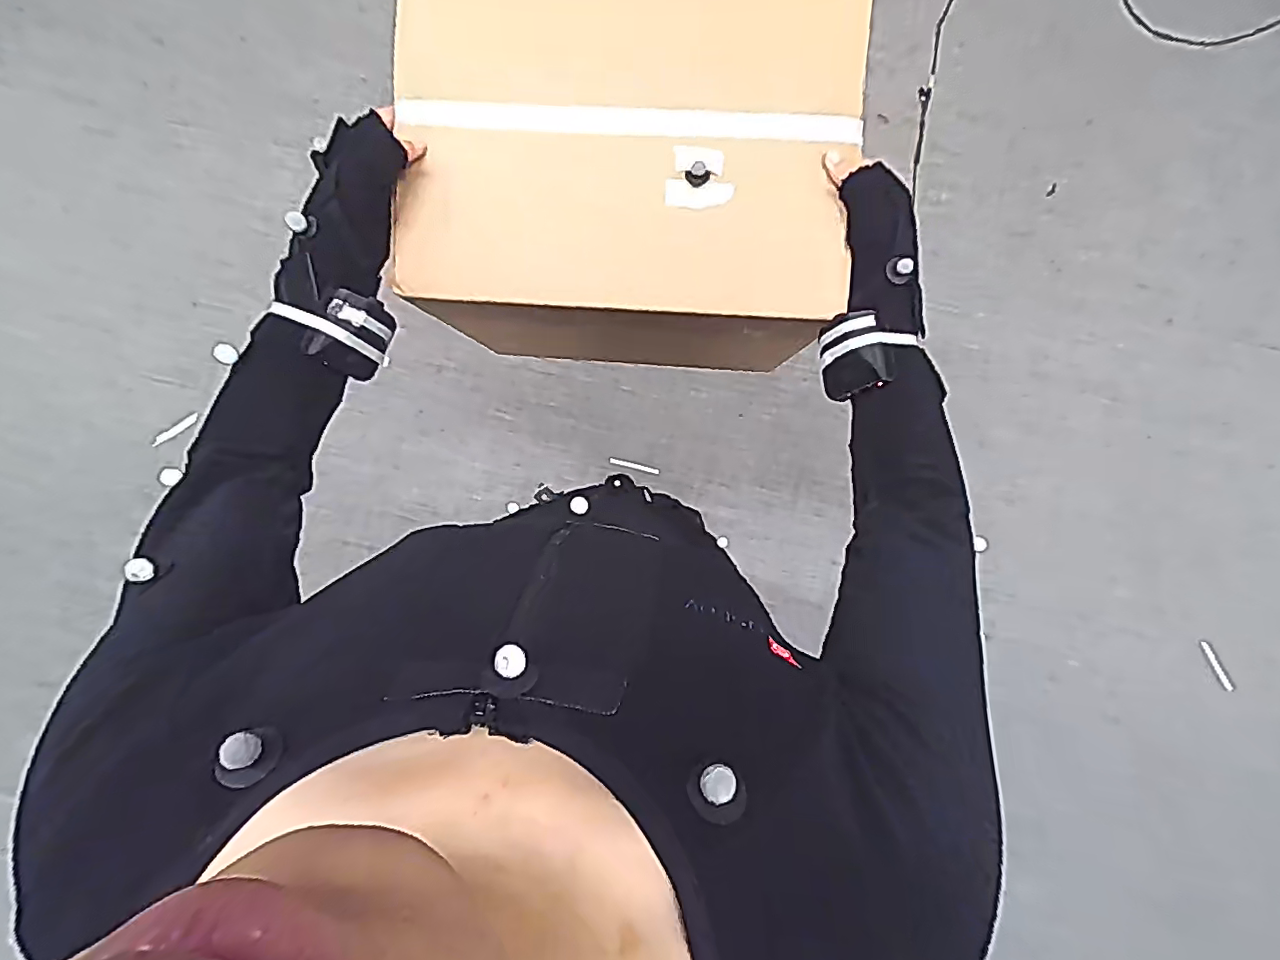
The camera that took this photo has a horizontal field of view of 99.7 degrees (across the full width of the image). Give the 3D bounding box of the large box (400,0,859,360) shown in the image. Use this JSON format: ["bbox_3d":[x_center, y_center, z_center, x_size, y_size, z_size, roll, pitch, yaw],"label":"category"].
[{"bbox_3d":[-0.011,-0.325,0.626,0.408,0.320,0.320,4,94,2],"label":"large box"}]
